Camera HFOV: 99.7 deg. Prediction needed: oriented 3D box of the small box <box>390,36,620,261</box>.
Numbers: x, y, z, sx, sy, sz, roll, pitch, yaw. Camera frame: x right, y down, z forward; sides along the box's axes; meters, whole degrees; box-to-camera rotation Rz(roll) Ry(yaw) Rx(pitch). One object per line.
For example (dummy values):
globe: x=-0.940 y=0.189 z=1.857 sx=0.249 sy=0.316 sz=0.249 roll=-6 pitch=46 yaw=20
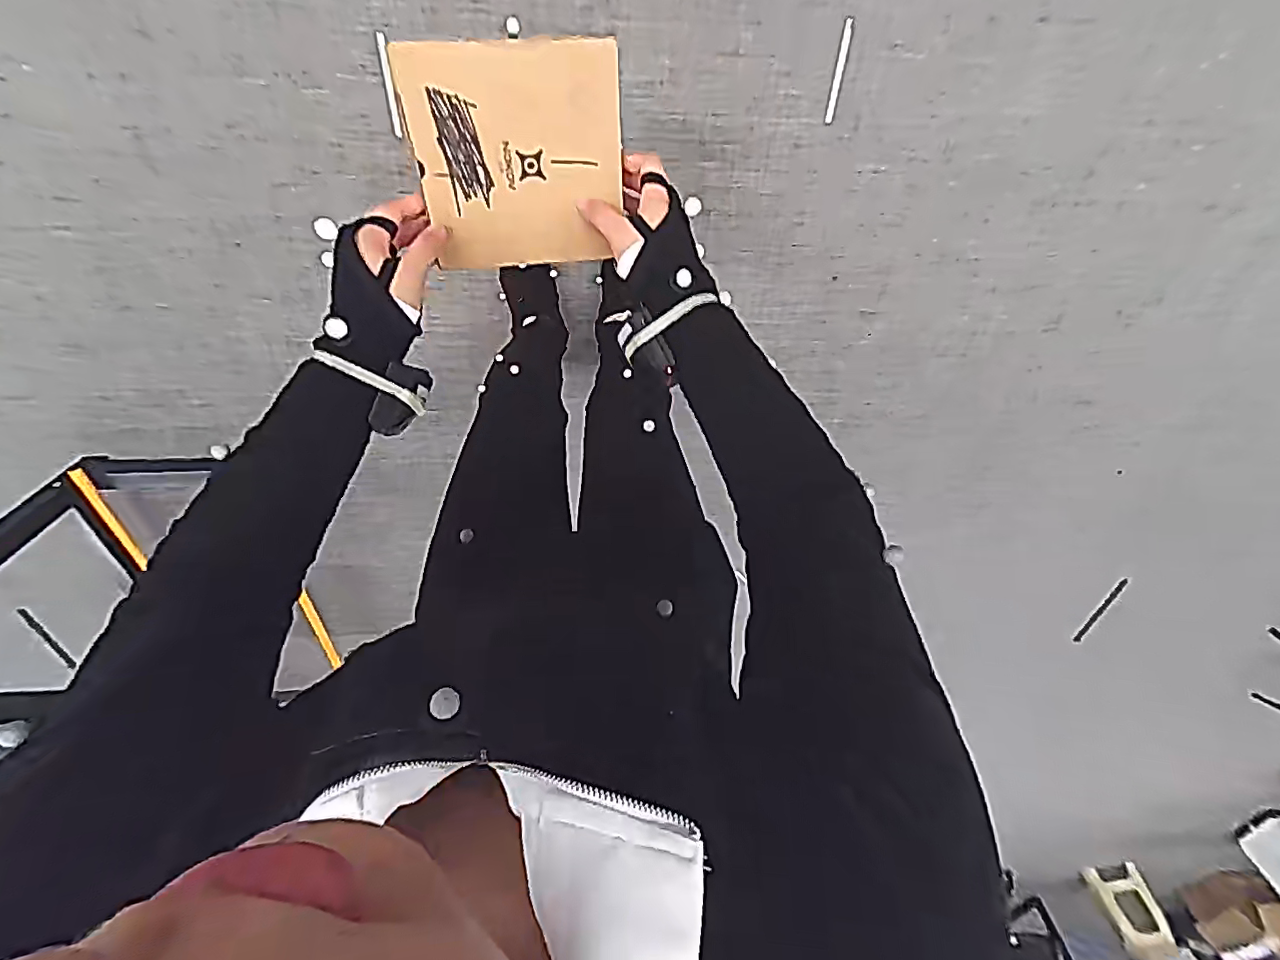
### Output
small box: x=-0.118 y=-0.324 z=0.527 sx=0.179 sy=0.176 sz=0.168 roll=-7 pitch=129 yaw=-8

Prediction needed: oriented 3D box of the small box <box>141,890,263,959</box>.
small box: x=-1.024 y=1.072 z=1.245 sx=0.179 sy=0.176 sz=0.168 roll=0 pitch=128 yaw=-5
